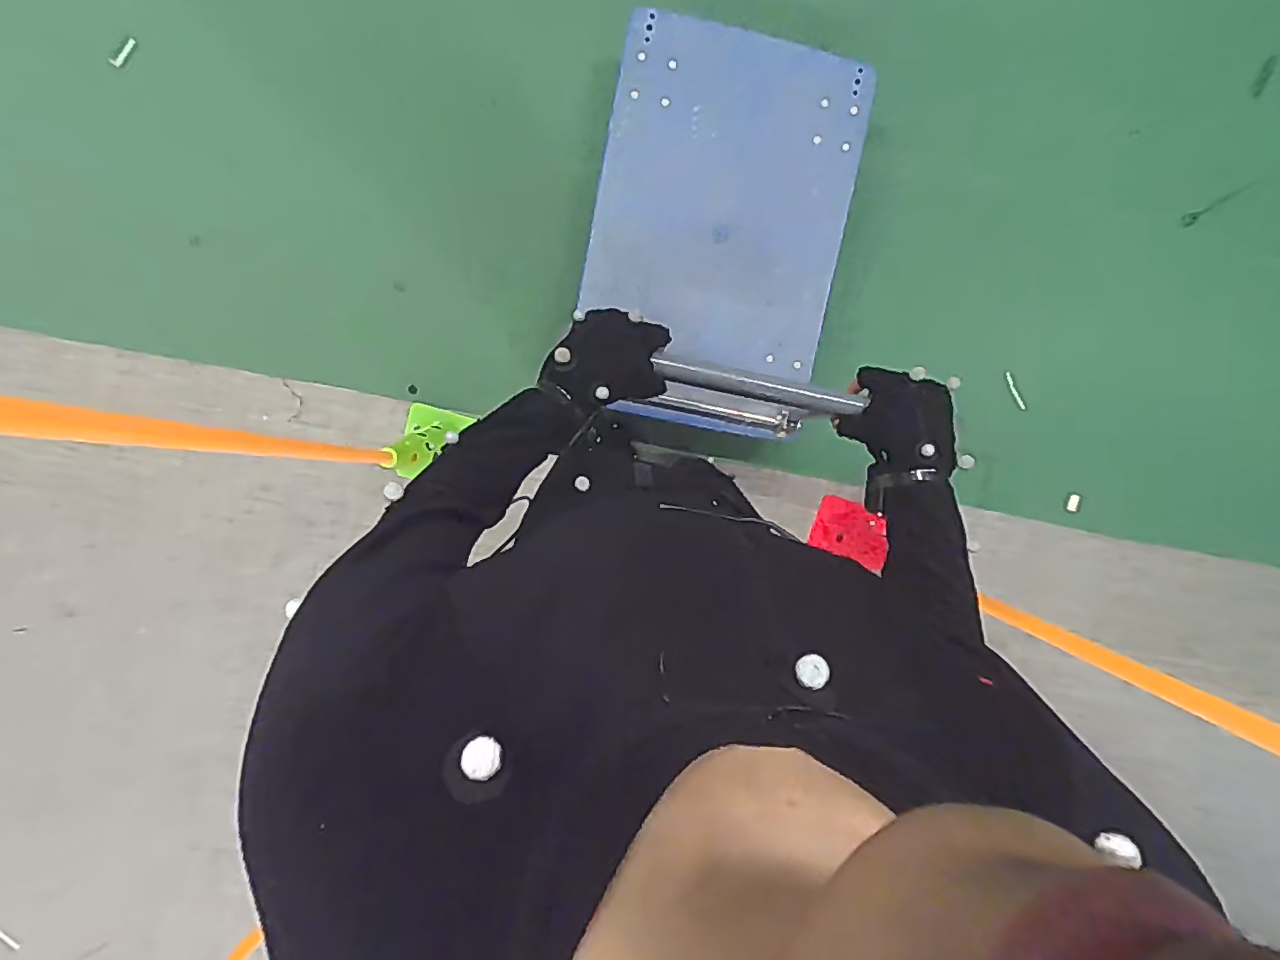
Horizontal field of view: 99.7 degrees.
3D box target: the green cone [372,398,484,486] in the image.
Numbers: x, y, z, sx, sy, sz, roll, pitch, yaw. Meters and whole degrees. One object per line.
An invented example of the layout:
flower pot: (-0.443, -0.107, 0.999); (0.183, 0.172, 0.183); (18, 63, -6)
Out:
green cone: (-0.517, -0.082, 1.252); (0.202, 0.368, 0.200); (15, 95, -4)
